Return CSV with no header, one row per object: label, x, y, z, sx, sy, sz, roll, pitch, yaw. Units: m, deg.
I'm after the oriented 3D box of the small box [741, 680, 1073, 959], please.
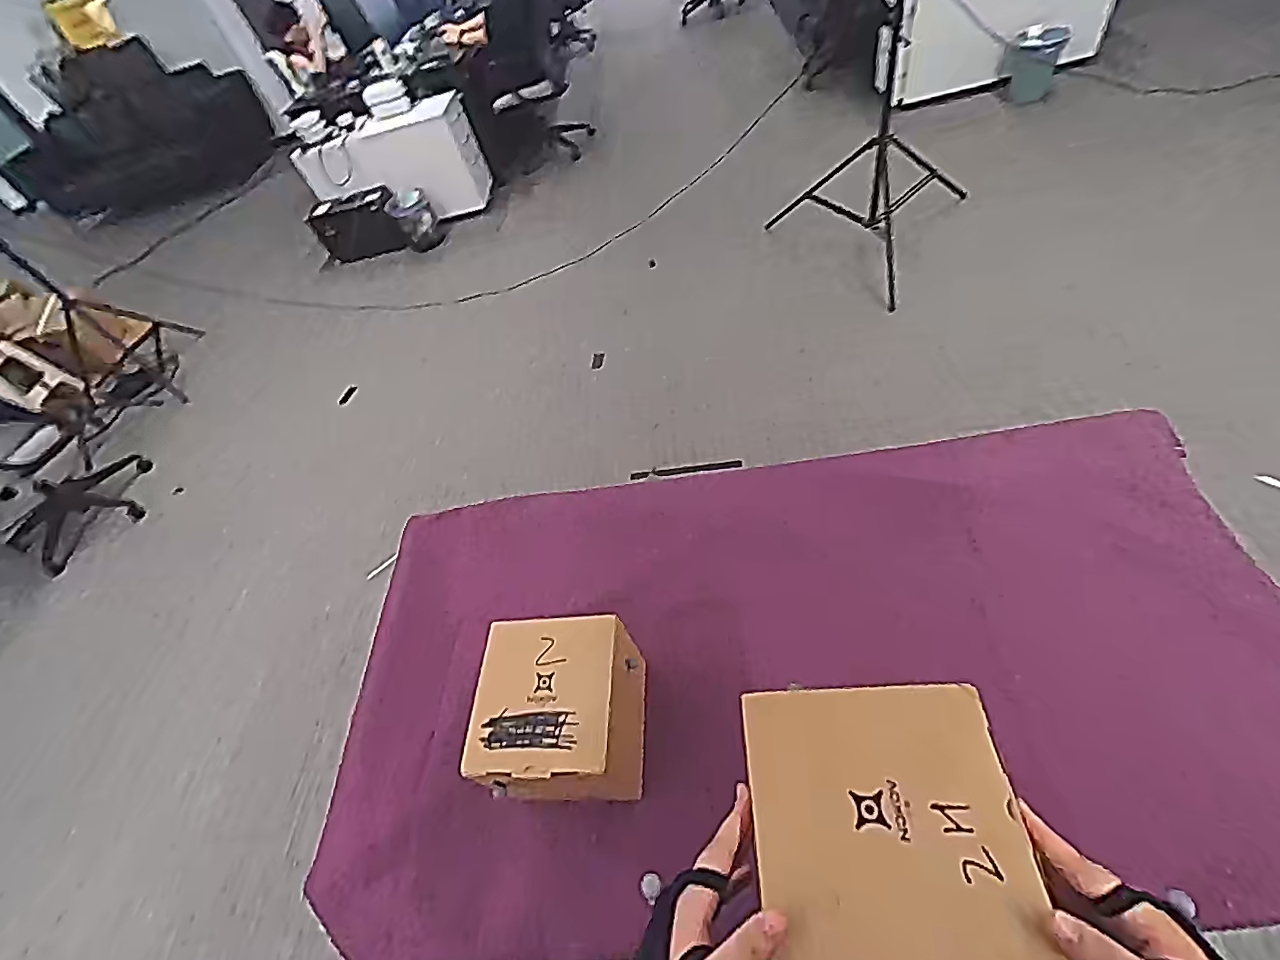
small box,0.178,0.270,0.428,0.179,0.176,0.168,-5,51,8
